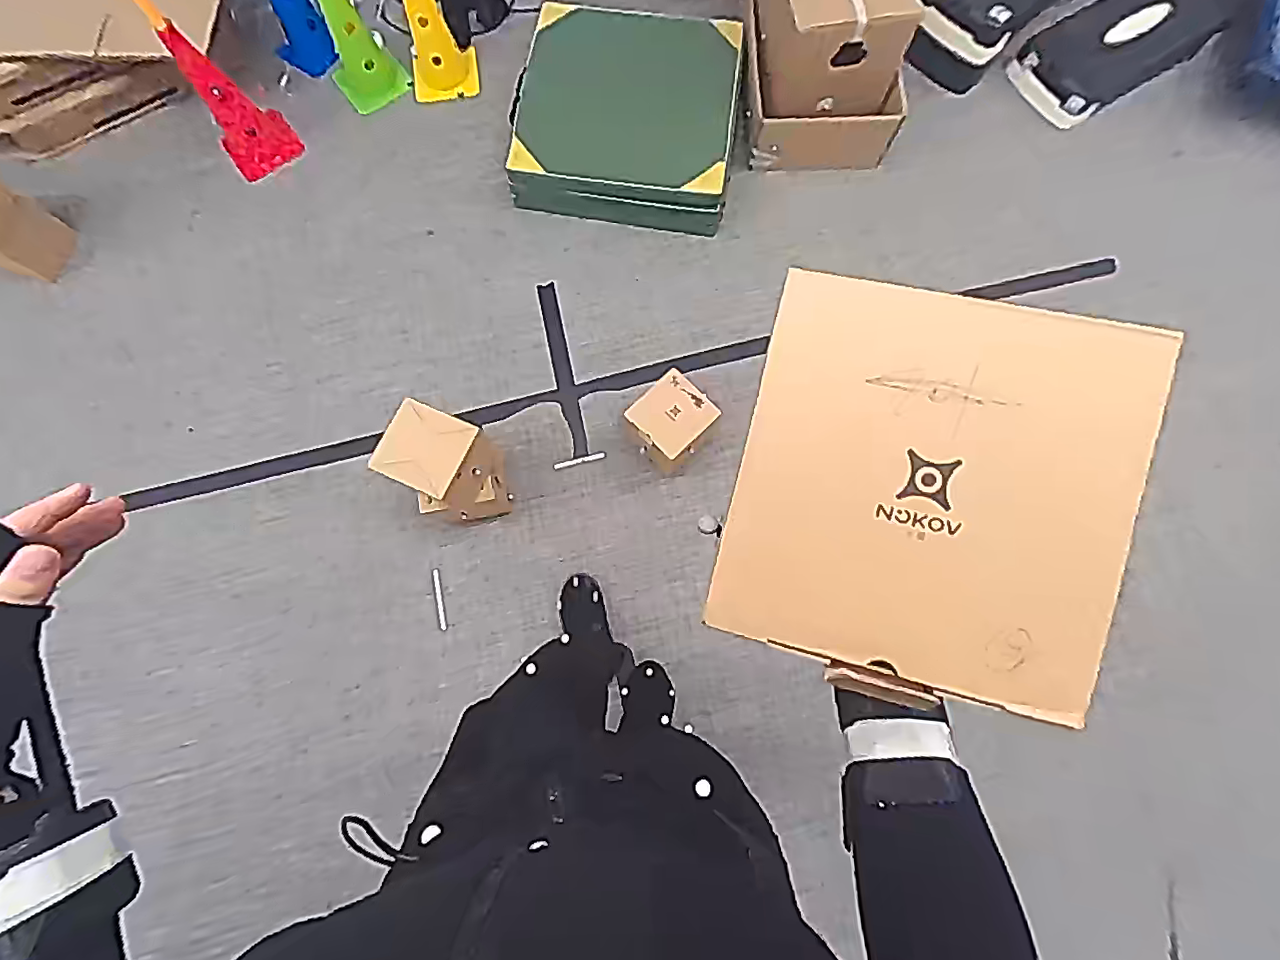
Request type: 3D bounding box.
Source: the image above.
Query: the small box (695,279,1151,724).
[{"bbox_3d":[0.138,0.008,0.329,0.168,0.176,0.179,14,90,9],"label":"small box"}]

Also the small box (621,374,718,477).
[{"bbox_3d":[0.072,-0.129,1.370,0.179,0.176,0.168,-43,82,-9],"label":"small box"}]

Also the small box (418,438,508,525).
[{"bbox_3d":[-0.435,0.009,1.338,0.179,0.176,0.168,-11,76,-1],"label":"small box"}]

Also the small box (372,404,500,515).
[{"bbox_3d":[-0.438,-0.041,1.177,0.179,0.176,0.168,23,77,6],"label":"small box"}]
